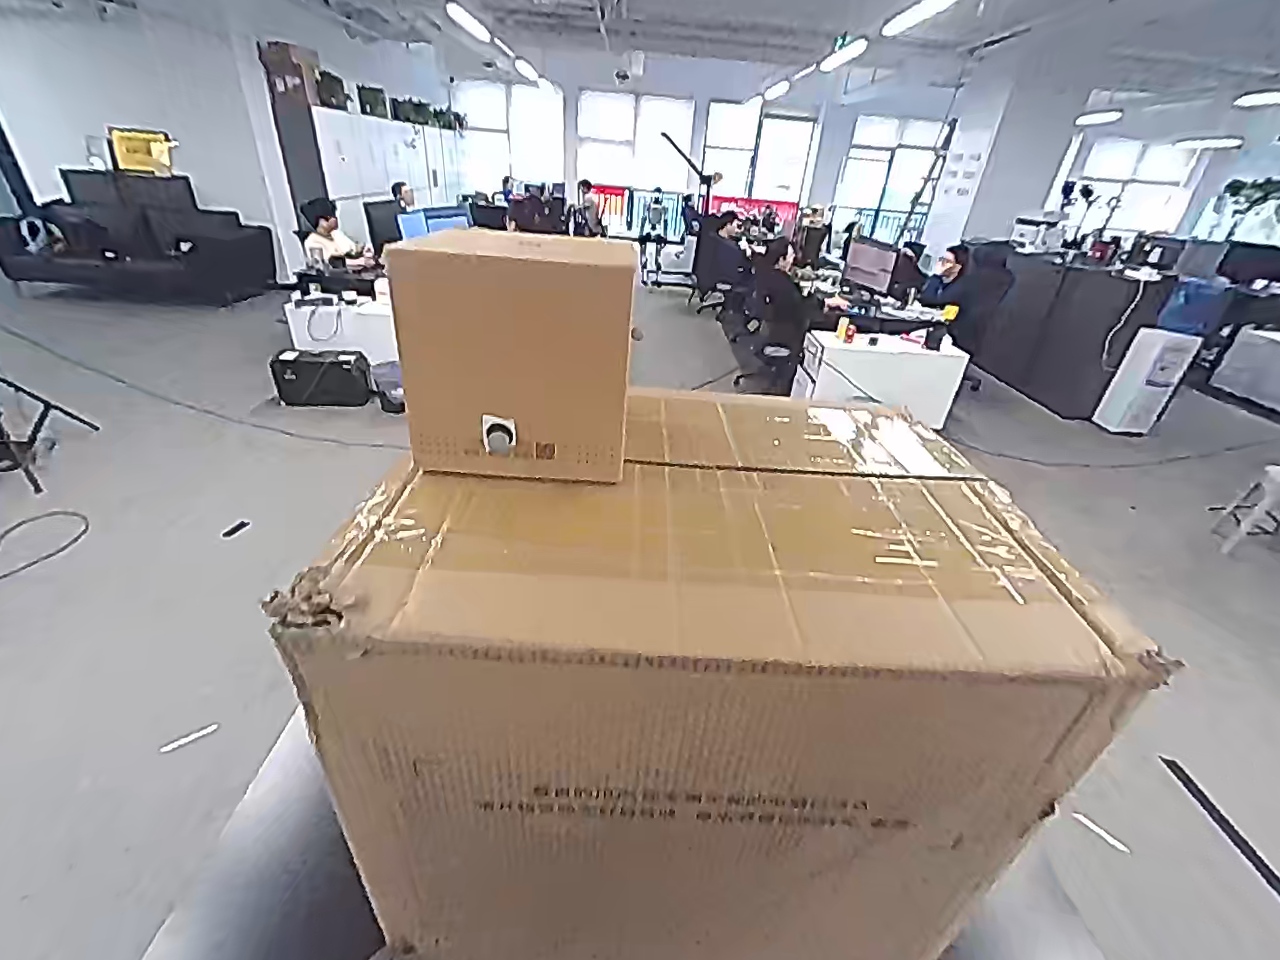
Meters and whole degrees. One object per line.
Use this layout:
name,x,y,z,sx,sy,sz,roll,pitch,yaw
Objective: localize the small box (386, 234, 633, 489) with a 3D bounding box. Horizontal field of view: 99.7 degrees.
small box,-0.094,-0.108,0.466,0.168,0.176,0.179,1,29,-4
